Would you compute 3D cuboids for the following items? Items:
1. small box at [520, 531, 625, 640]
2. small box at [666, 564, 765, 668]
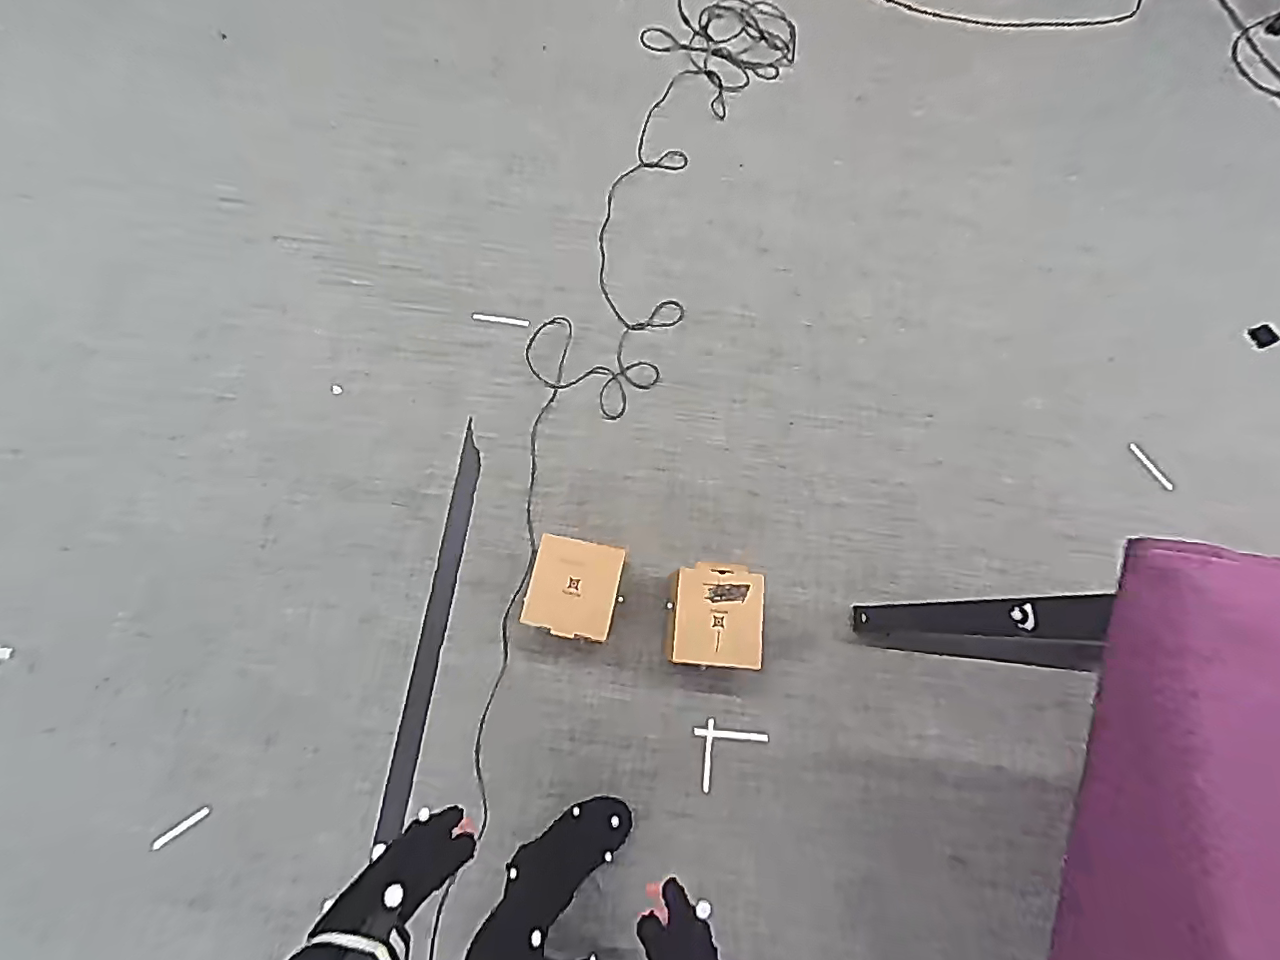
[{"bbox_3d":[-0.128,0.216,1.086,0.168,0.176,0.179,12,74,-1],"label":"small box"},{"bbox_3d":[0.145,0.271,1.081,0.168,0.176,0.179,6,75,-1],"label":"small box"}]
